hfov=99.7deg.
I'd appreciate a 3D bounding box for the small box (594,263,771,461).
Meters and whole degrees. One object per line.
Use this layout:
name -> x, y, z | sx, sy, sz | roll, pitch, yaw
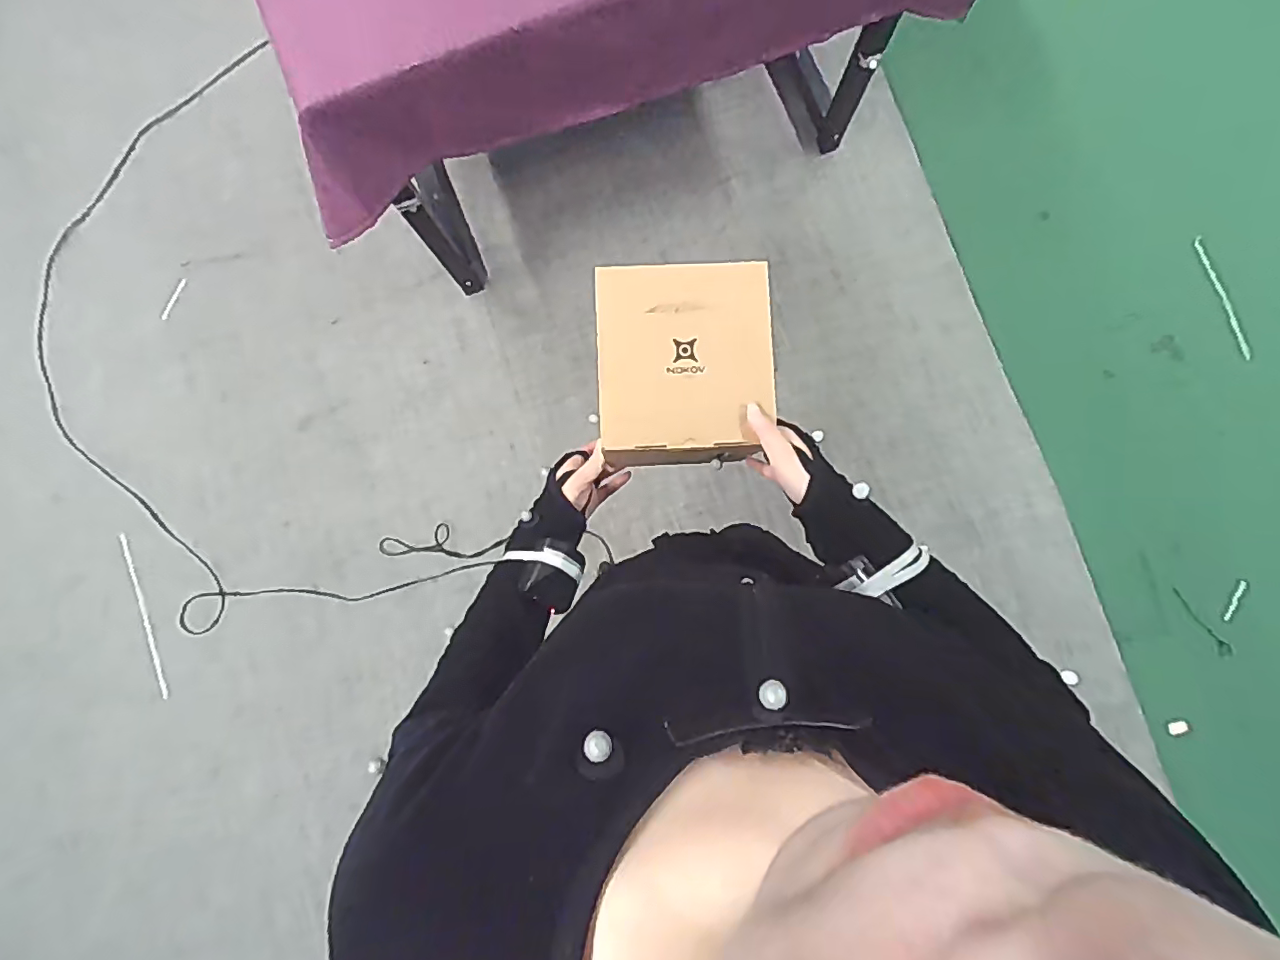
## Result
small box -> 0.039, -0.112, 0.585 | 0.168, 0.176, 0.179 | -2, 86, -2
